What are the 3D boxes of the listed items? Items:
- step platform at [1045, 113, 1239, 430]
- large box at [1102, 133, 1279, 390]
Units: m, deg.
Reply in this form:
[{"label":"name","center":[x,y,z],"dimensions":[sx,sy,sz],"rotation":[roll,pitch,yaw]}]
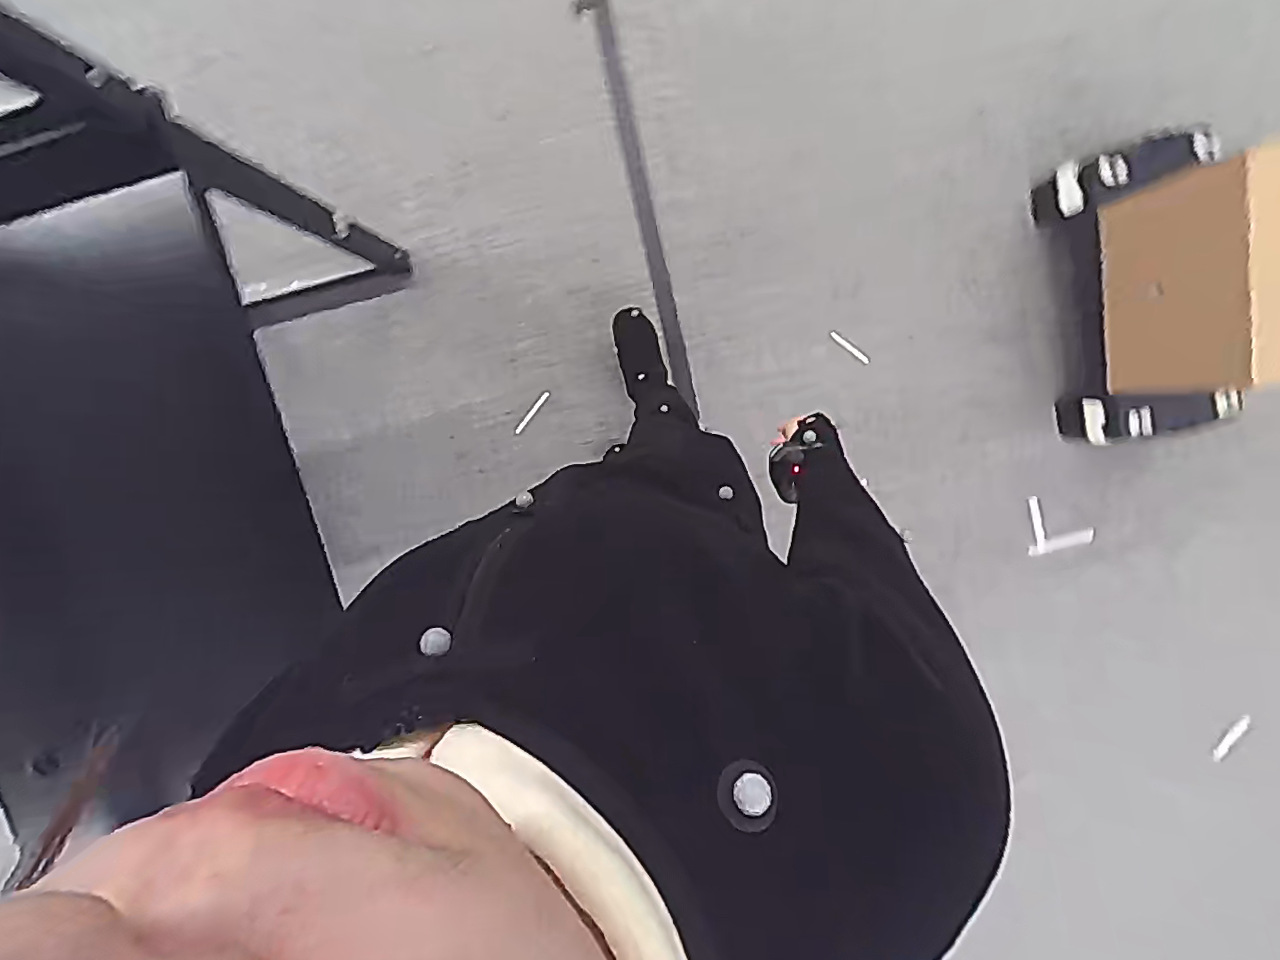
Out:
[{"label":"step platform","center":[1.179,-0.463,1.276],"dimensions":[0.286,0.204,0.684],"rotation":[-8,97,3]},{"label":"large box","center":[1.181,-0.406,1.042],"dimensions":[0.320,0.320,0.408],"rotation":[-10,96,2]}]
